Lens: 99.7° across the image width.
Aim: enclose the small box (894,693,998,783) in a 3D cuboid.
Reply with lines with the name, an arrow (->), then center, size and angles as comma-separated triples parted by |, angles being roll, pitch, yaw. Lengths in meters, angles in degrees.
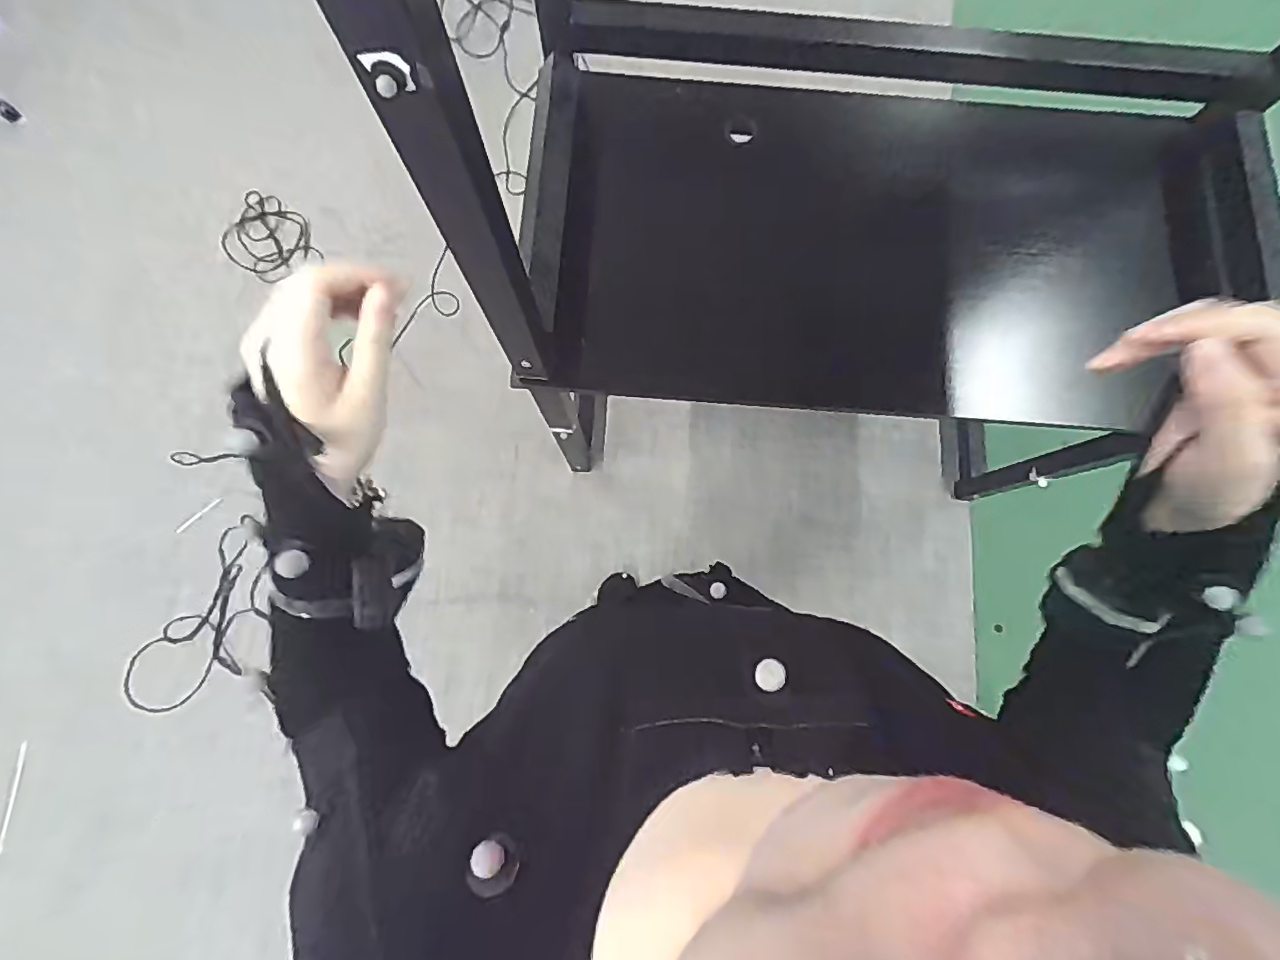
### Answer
small box -> 0.757, 0.641, 1.361 | 0.179, 0.176, 0.168 | 3, 79, 1
